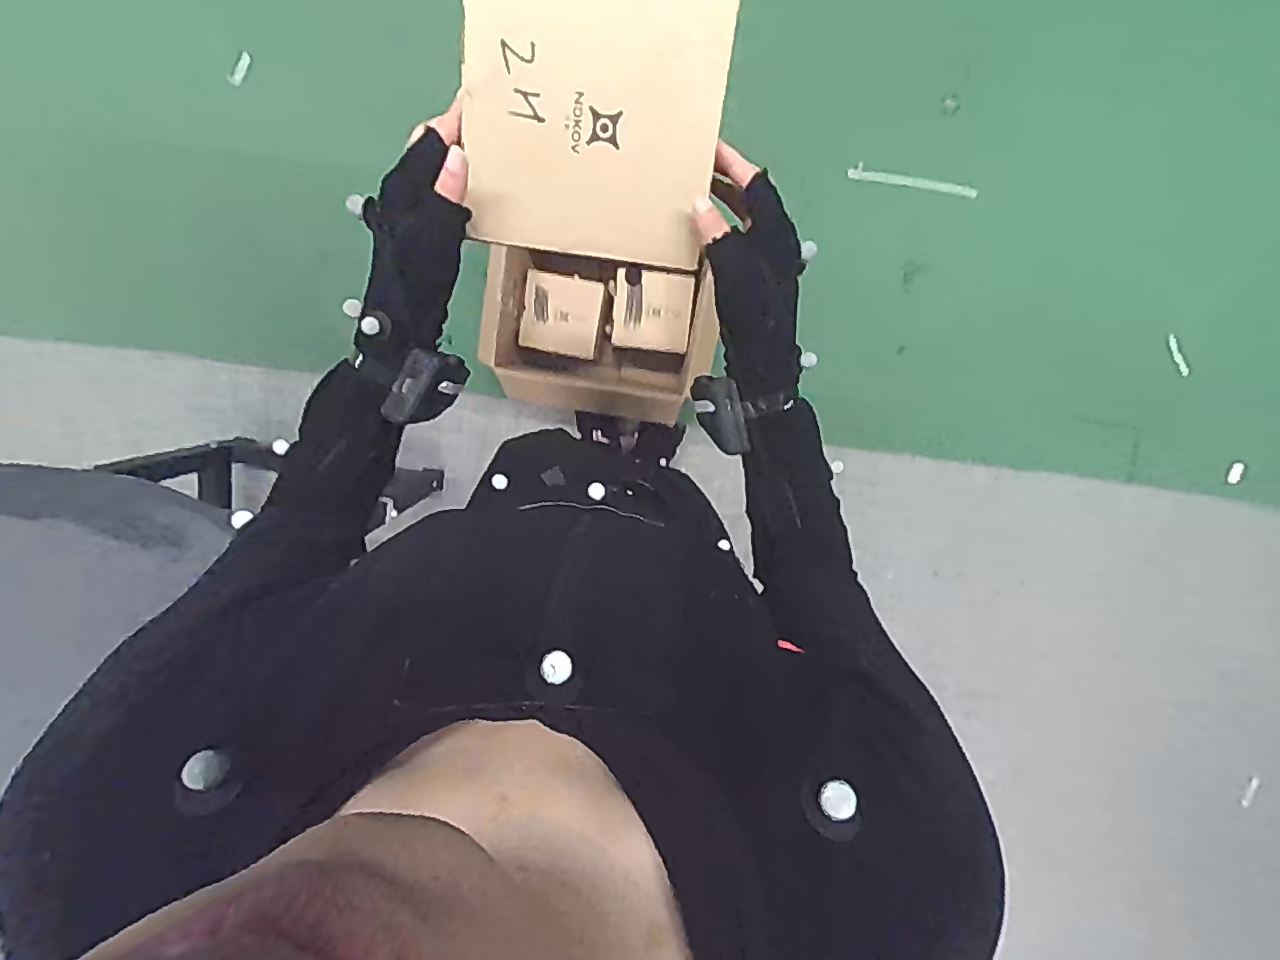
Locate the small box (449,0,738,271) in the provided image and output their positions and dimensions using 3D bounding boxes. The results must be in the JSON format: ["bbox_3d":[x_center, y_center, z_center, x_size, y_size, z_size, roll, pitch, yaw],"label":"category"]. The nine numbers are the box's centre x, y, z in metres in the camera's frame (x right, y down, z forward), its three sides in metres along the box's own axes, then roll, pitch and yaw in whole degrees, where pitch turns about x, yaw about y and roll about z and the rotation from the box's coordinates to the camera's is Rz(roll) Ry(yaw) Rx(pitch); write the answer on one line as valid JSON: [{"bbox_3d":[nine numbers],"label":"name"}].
[{"bbox_3d":[-0.040,-0.267,0.426,0.179,0.176,0.168,6,112,-6],"label":"small box"}]
